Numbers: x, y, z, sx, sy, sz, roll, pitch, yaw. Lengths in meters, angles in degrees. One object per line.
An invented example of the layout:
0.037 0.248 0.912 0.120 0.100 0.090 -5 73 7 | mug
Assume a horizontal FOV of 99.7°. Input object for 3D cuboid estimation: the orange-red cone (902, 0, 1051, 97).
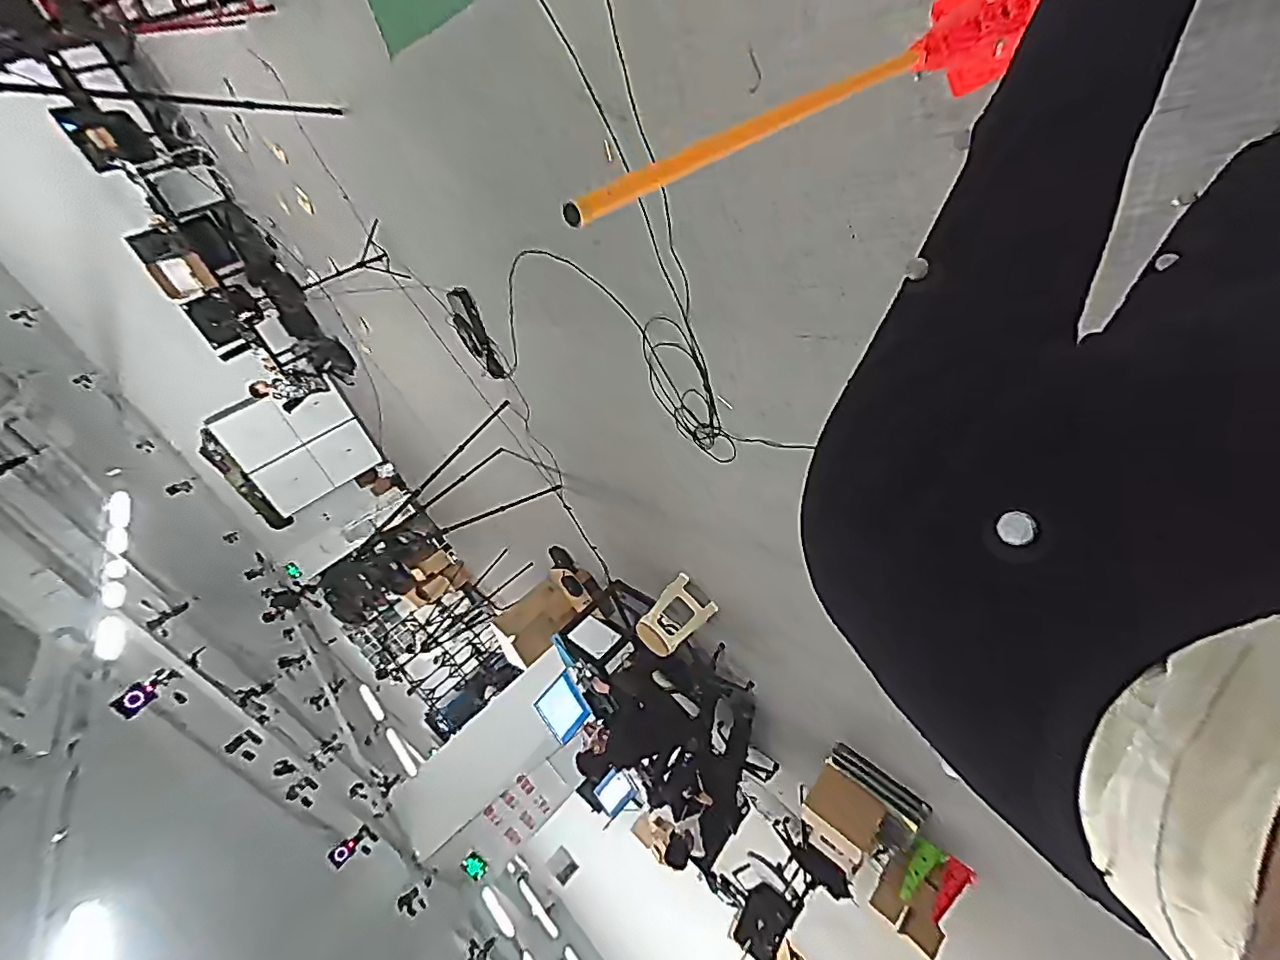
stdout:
0.612 -0.851 1.053 0.199 0.360 0.198 5 128 56 | orange-red cone
